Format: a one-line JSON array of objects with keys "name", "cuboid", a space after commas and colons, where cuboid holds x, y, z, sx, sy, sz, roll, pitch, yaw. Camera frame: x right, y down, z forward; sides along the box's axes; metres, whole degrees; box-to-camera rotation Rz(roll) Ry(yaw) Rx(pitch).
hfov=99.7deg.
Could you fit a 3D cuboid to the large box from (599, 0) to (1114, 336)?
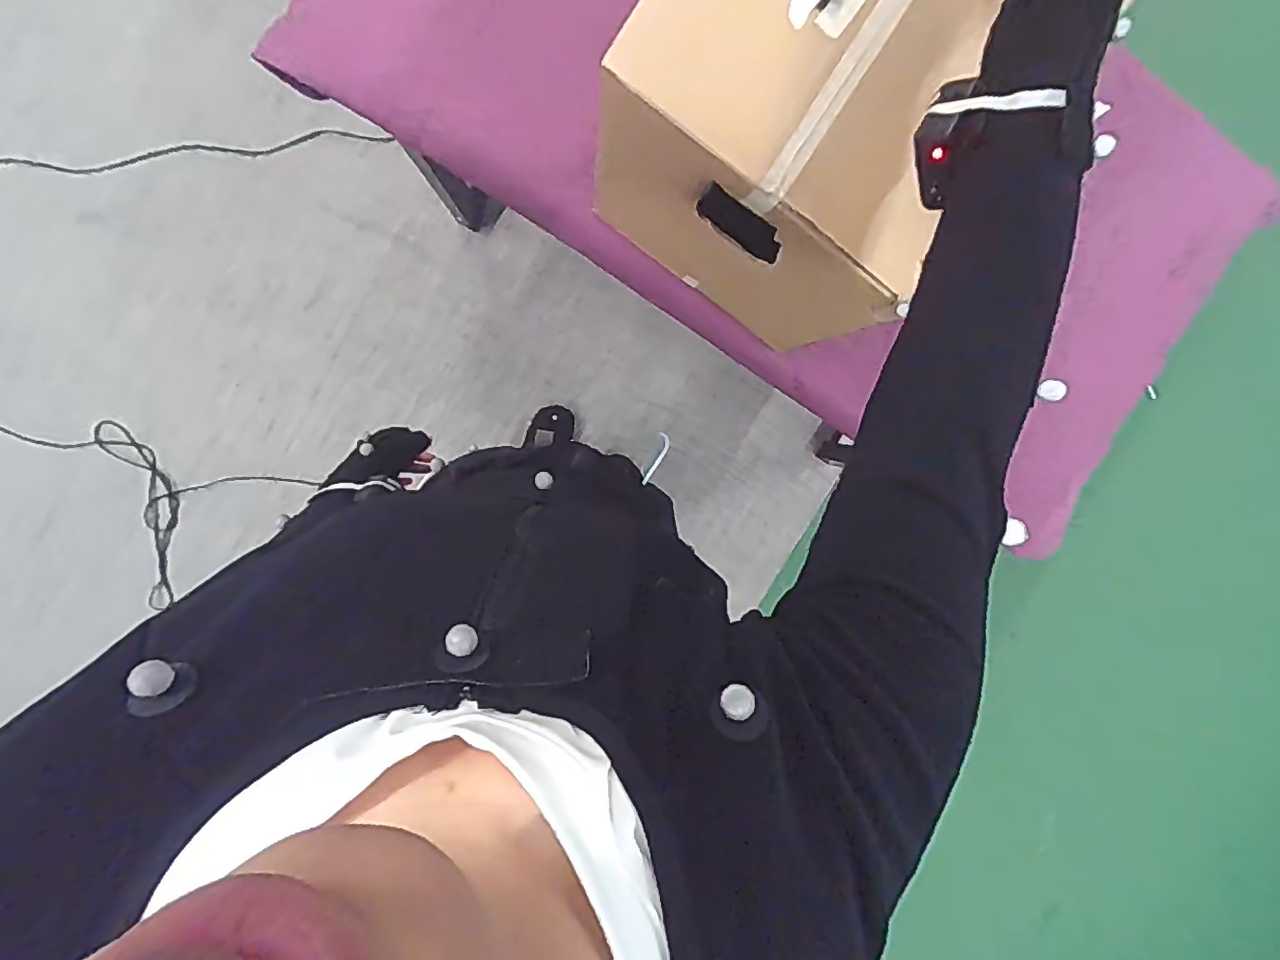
[{"name": "large box", "cuboid": [0.193, -0.418, 0.574, 0.320, 0.320, 0.408, 34, 94, -10]}]
